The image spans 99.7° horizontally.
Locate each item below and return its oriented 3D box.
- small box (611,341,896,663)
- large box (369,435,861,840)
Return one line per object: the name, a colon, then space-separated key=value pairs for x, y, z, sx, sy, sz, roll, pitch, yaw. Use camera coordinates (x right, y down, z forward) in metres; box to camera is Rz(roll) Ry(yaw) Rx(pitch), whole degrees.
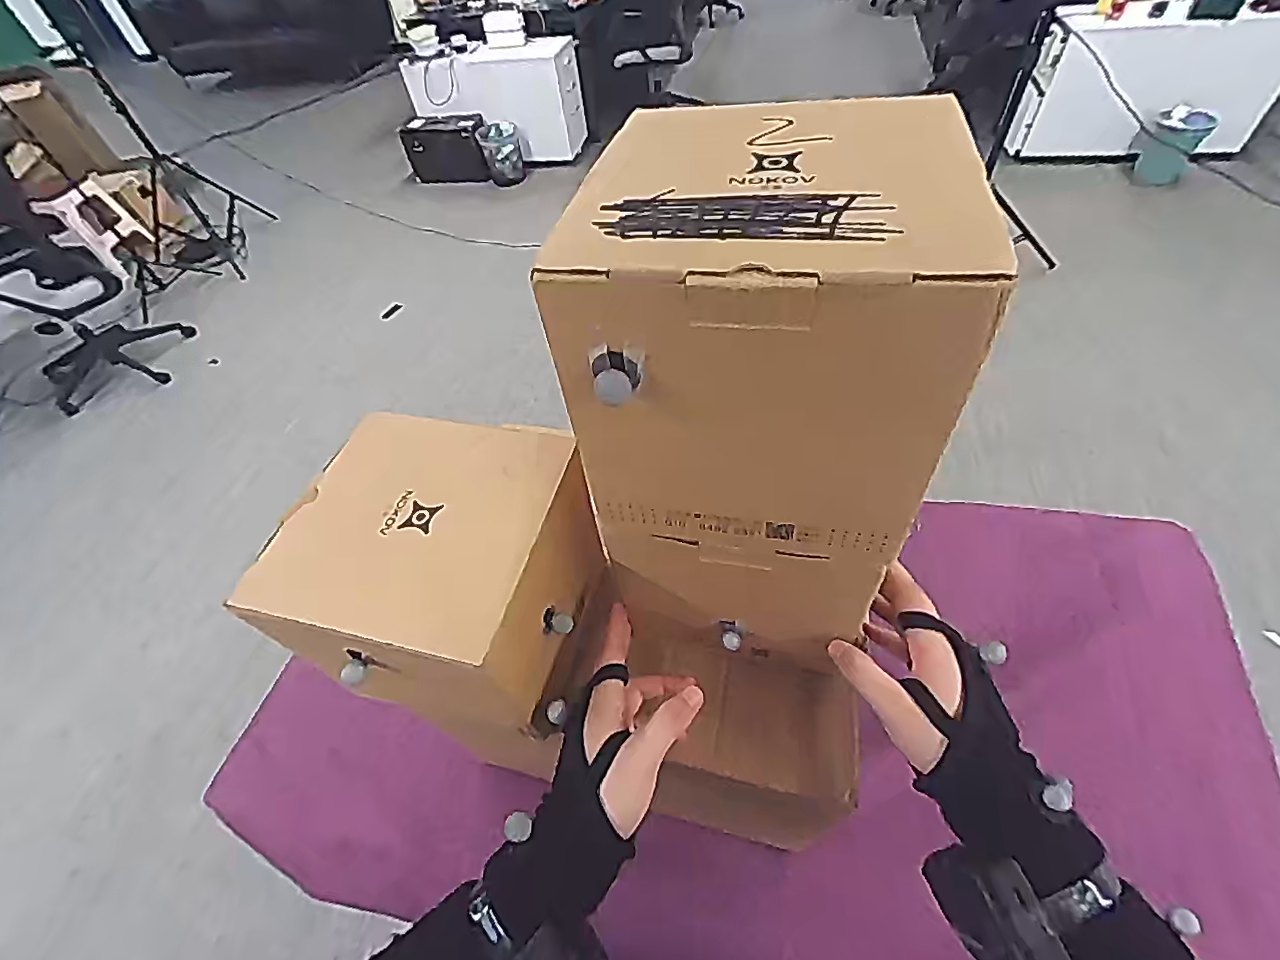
small box: x=0.087 y=0.016 z=0.420 sx=0.168 sy=0.176 sz=0.179 roll=6 pitch=52 yaw=14
large box: x=0.011 y=0.176 z=0.618 sx=0.408 sy=0.320 sz=0.320 roll=6 pitch=51 yaw=13
